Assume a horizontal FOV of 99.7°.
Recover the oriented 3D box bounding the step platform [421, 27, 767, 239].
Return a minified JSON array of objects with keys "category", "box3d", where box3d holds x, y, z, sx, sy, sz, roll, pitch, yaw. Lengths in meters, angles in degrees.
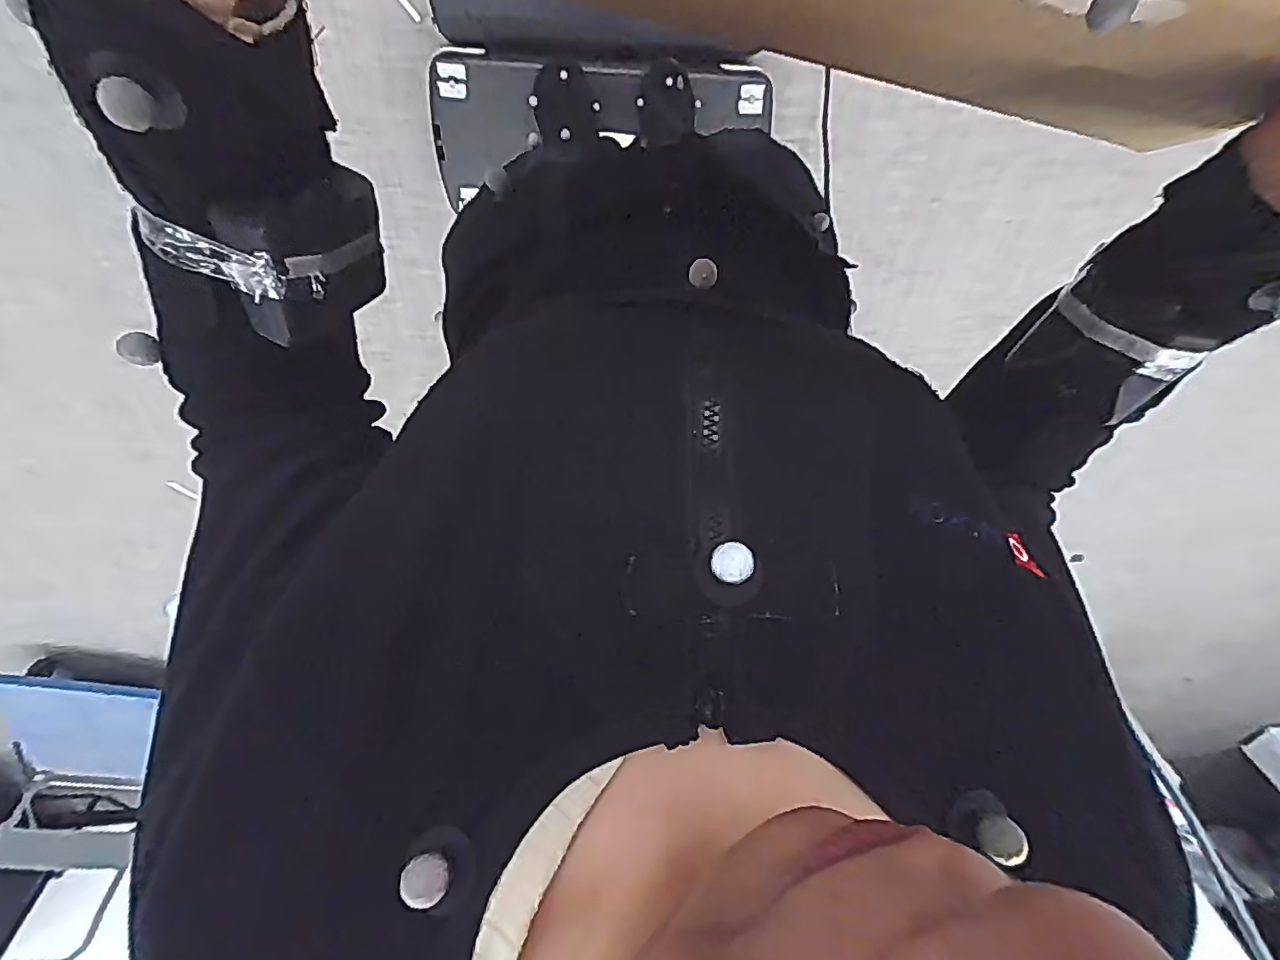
[{"category":"step platform","box3d":[-0.089,-0.706,1.128,0.684,0.204,0.286,4,129,-8]}]
